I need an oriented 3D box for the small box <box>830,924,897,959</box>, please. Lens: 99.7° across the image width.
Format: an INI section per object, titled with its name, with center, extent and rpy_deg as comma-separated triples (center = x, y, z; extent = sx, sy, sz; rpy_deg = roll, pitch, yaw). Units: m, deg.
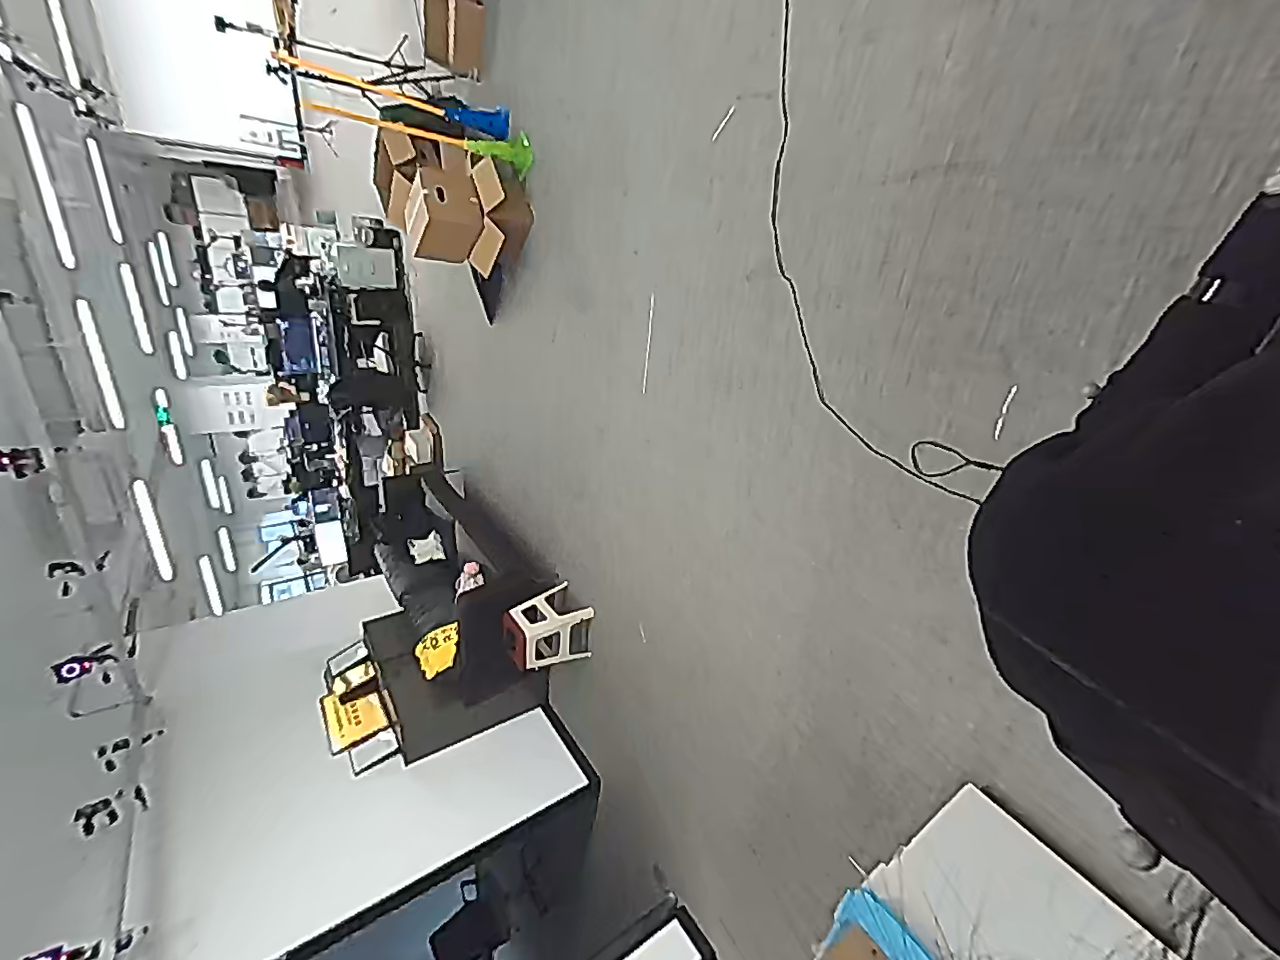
[small box]
center = 0.493, 1.141, 1.188
extent = 0.168, 0.176, 0.179
rpy_deg = 35, 128, 45
